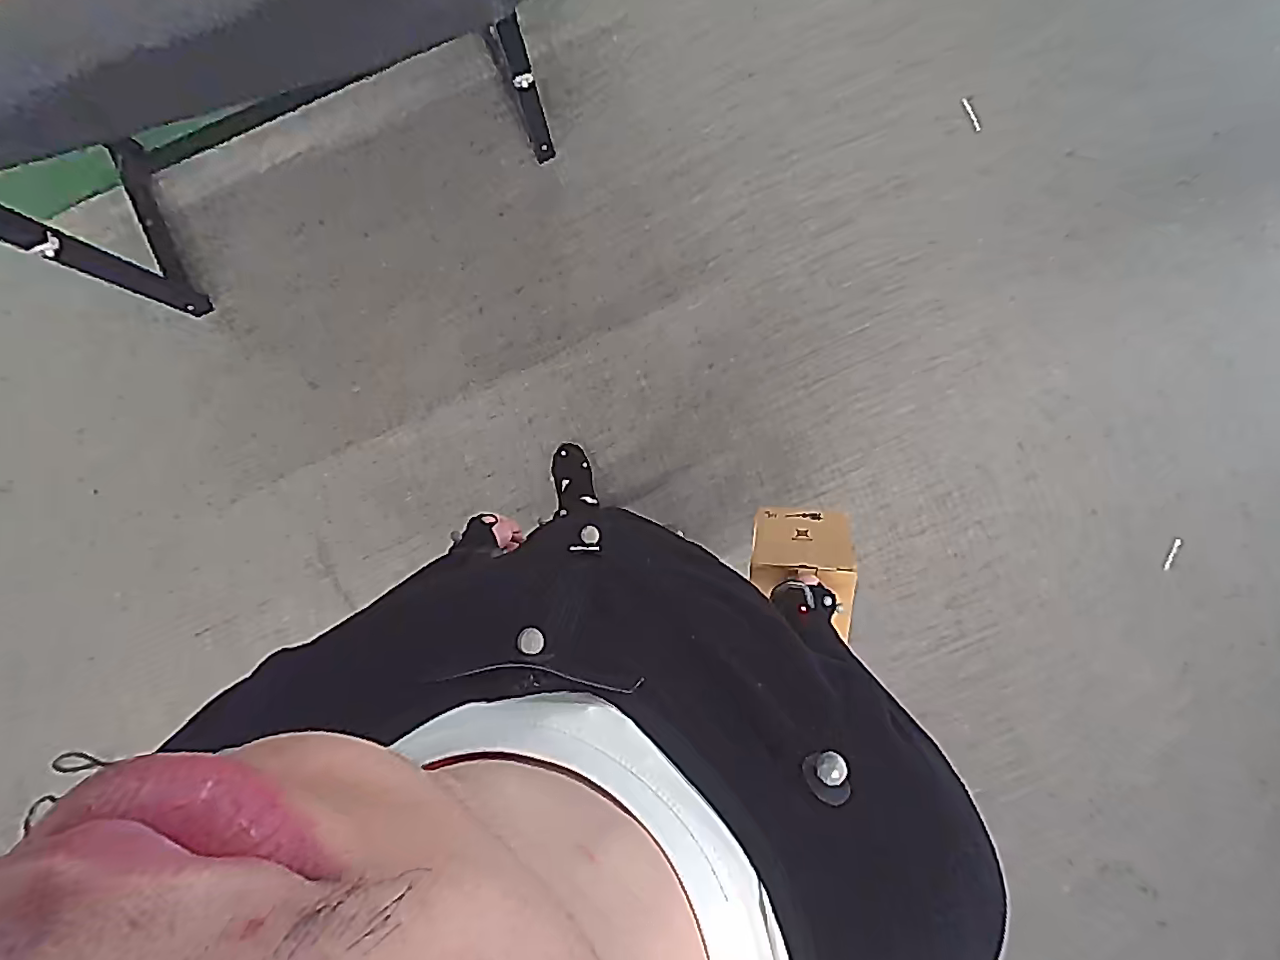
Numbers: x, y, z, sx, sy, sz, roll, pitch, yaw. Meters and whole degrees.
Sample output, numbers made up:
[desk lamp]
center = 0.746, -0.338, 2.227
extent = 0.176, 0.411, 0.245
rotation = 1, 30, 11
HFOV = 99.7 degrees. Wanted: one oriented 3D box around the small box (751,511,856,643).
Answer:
[small box]
center = 0.287, 0.171, 0.972
extent = 0.168, 0.179, 0.176
rotation = 0, 119, 13
